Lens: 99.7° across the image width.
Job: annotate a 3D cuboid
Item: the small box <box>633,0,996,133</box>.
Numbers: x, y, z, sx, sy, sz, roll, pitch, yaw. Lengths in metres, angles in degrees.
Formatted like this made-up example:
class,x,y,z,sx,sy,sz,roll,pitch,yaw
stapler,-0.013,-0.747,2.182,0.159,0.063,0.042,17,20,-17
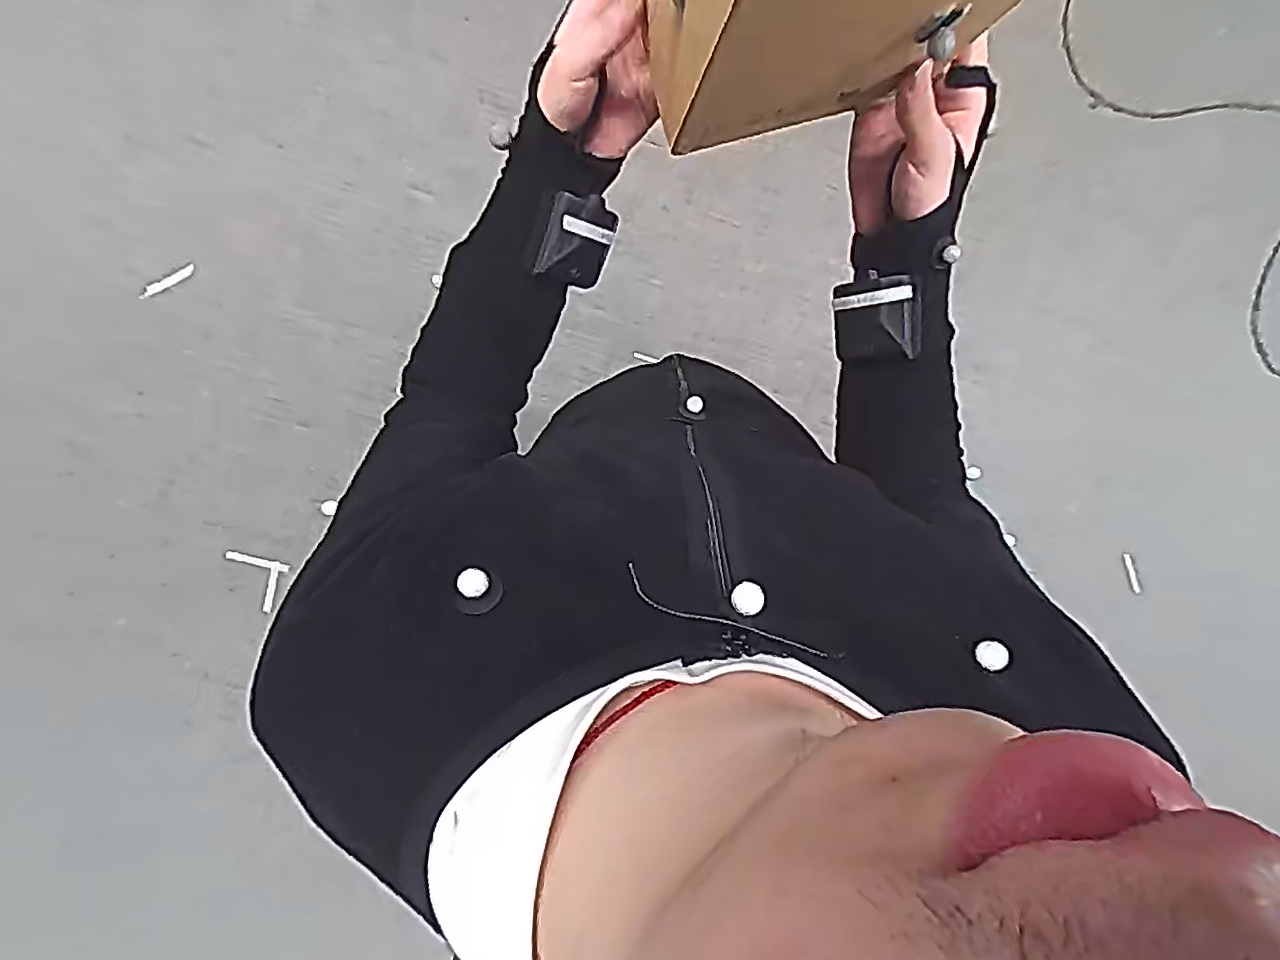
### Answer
class,x,y,z,sx,sy,sz,roll,pitch,yaw
small box,0.085,-0.295,0.252,0.168,0.176,0.179,-18,102,-5
